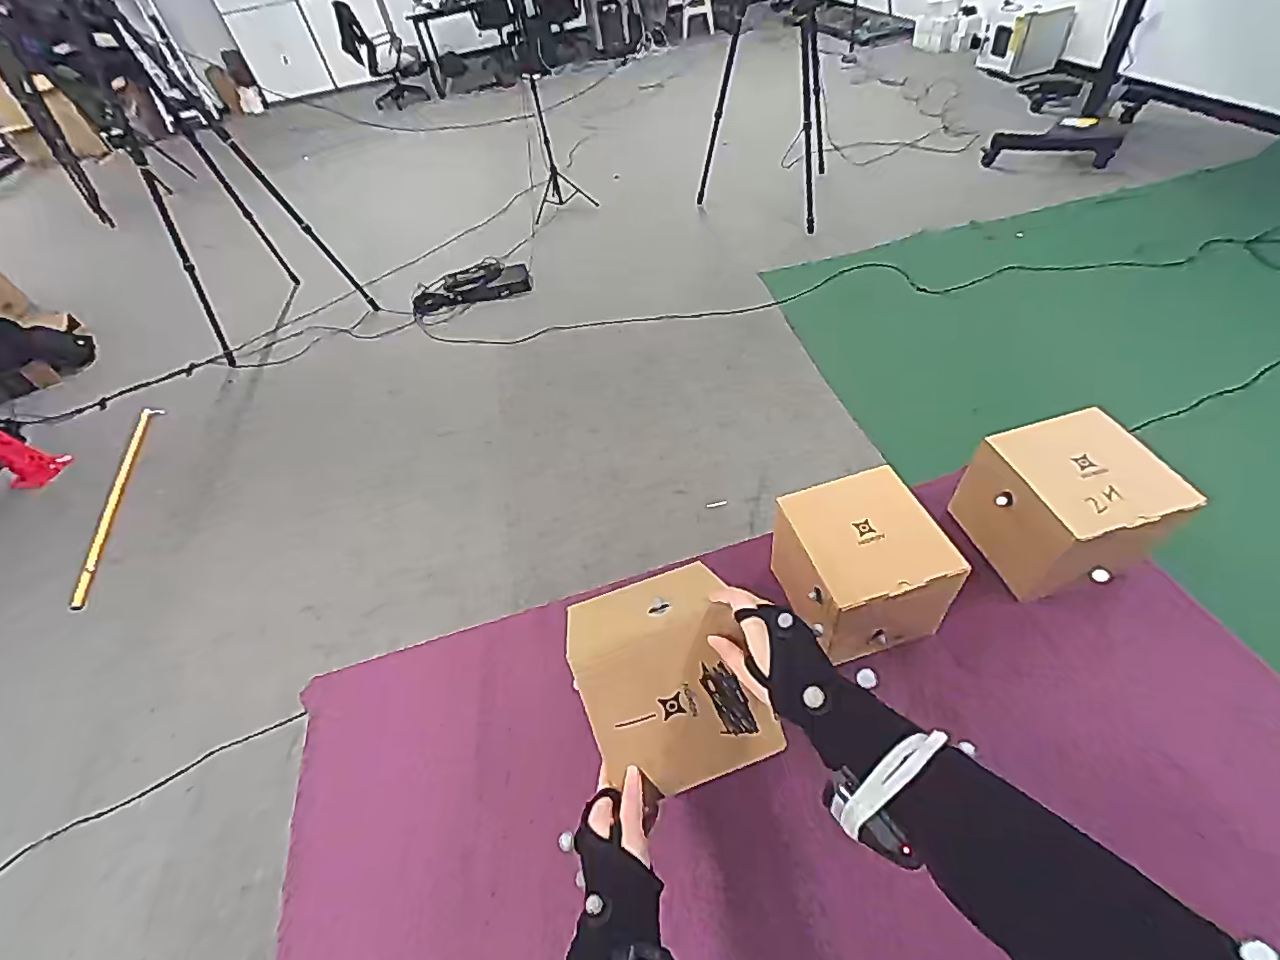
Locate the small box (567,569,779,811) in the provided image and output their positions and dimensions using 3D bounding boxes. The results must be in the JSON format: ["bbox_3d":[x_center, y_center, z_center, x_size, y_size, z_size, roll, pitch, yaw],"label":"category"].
[{"bbox_3d":[0.025,0.213,0.602,0.179,0.168,0.176,-19,4,-5],"label":"small box"}]

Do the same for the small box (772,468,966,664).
[{"bbox_3d":[0.289,0.118,0.732,0.168,0.176,0.179,-17,49,-4],"label":"small box"}]

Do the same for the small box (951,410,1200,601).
[{"bbox_3d":[0.566,0.037,0.740,0.168,0.176,0.179,-16,51,-2],"label":"small box"}]
